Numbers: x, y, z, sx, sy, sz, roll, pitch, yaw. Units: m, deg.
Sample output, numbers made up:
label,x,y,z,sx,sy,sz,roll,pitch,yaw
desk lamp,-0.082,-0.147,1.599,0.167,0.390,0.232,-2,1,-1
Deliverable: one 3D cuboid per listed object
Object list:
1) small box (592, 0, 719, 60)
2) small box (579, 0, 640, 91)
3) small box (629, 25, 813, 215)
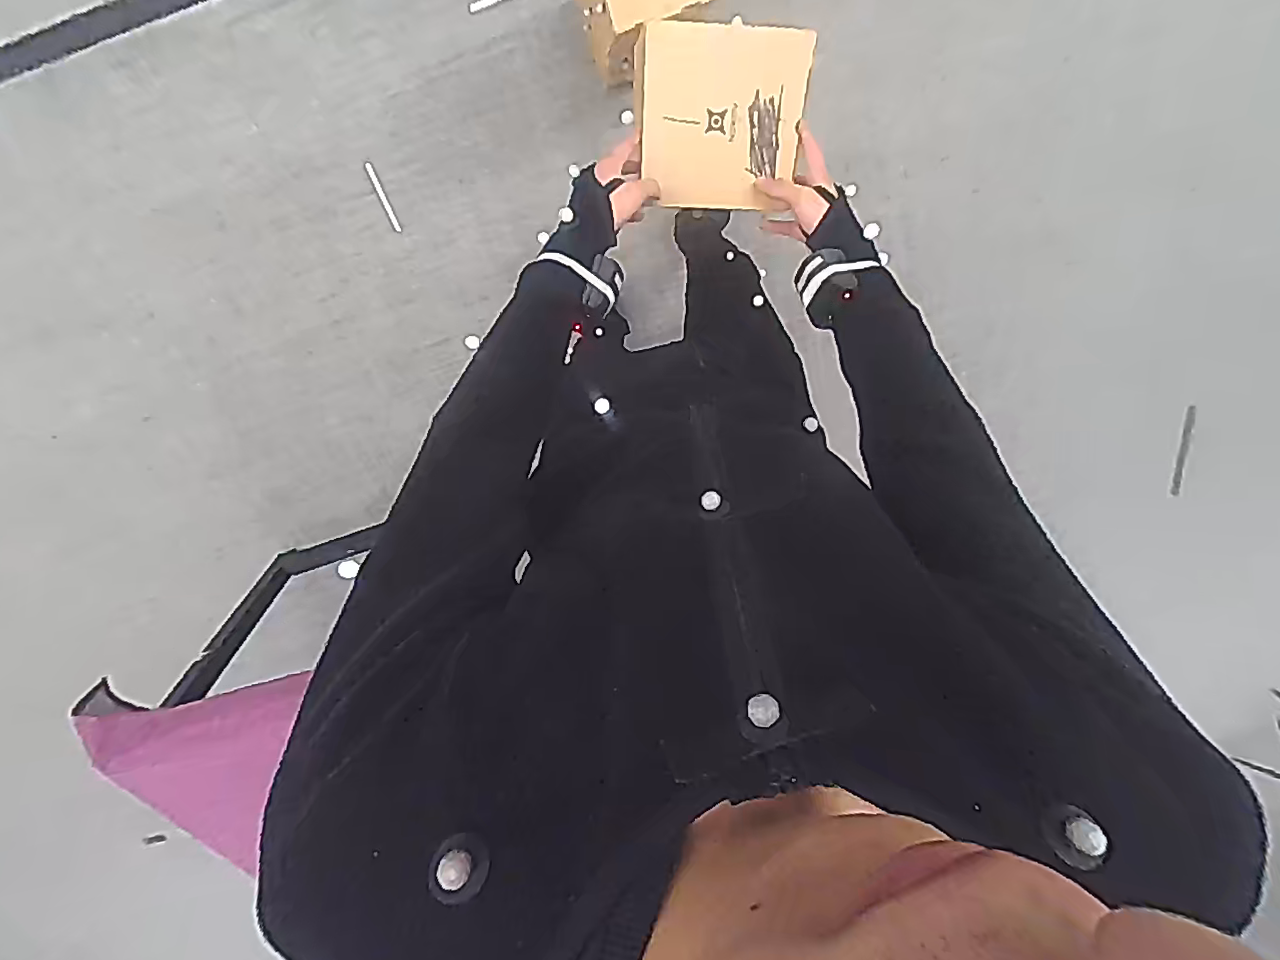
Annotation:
label,x,y,z,sx,sy,sz,roll,pitch,yaw
small box,0.006,-0.792,0.834,0.168,0.176,0.179,-18,120,2
small box,-0.023,-0.946,1.122,0.168,0.176,0.179,-21,120,5
small box,0.081,-0.420,0.649,0.179,0.176,0.168,0,120,-4
